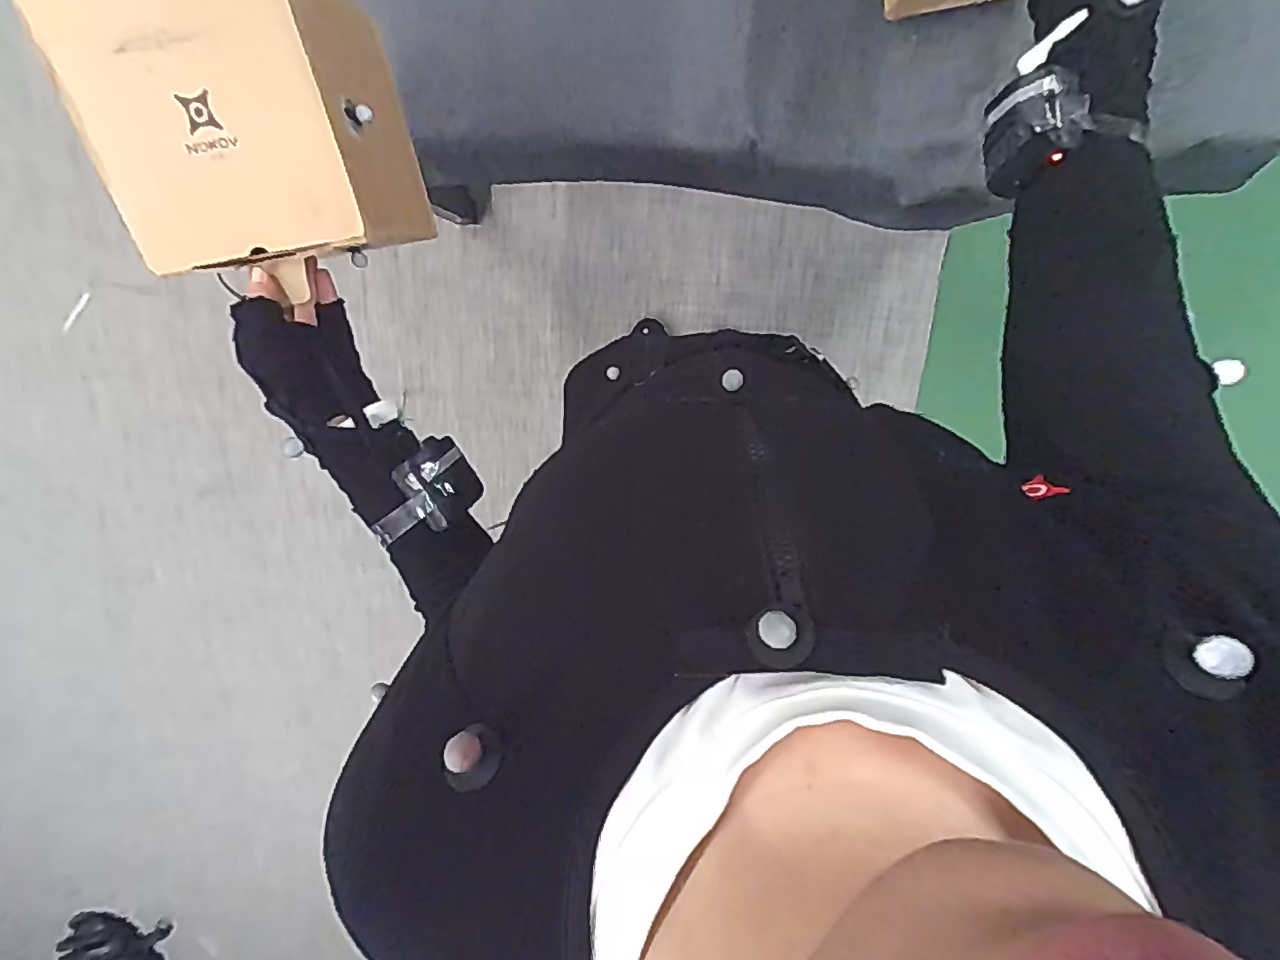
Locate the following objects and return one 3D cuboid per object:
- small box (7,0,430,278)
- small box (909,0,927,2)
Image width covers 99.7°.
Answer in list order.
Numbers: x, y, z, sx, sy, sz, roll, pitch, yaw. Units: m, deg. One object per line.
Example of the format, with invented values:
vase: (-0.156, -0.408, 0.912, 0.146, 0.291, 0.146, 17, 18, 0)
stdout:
small box: (-0.289, -0.270, 0.424, 0.168, 0.176, 0.179, -10, 114, 2)
small box: (0.306, -0.534, 0.433, 0.168, 0.176, 0.179, -9, 102, 4)
